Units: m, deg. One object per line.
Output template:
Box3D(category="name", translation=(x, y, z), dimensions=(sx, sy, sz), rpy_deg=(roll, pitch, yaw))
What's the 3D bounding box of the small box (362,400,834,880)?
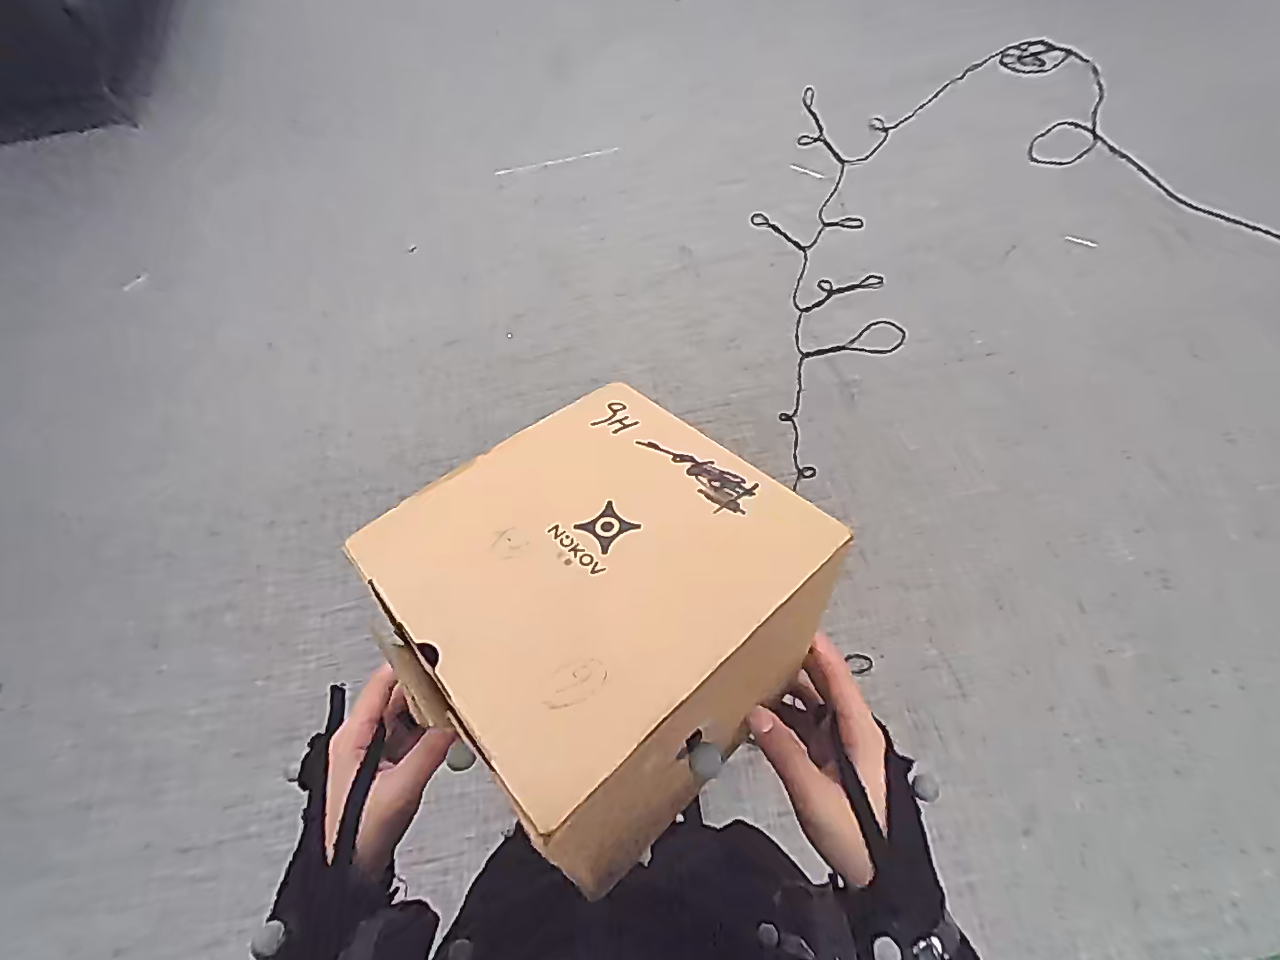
Box3D(category="small box", translation=(-0.017, 0.090, 0.319), dimensions=(0.179, 0.176, 0.168), rpy_deg=(-36, 54, -26))
